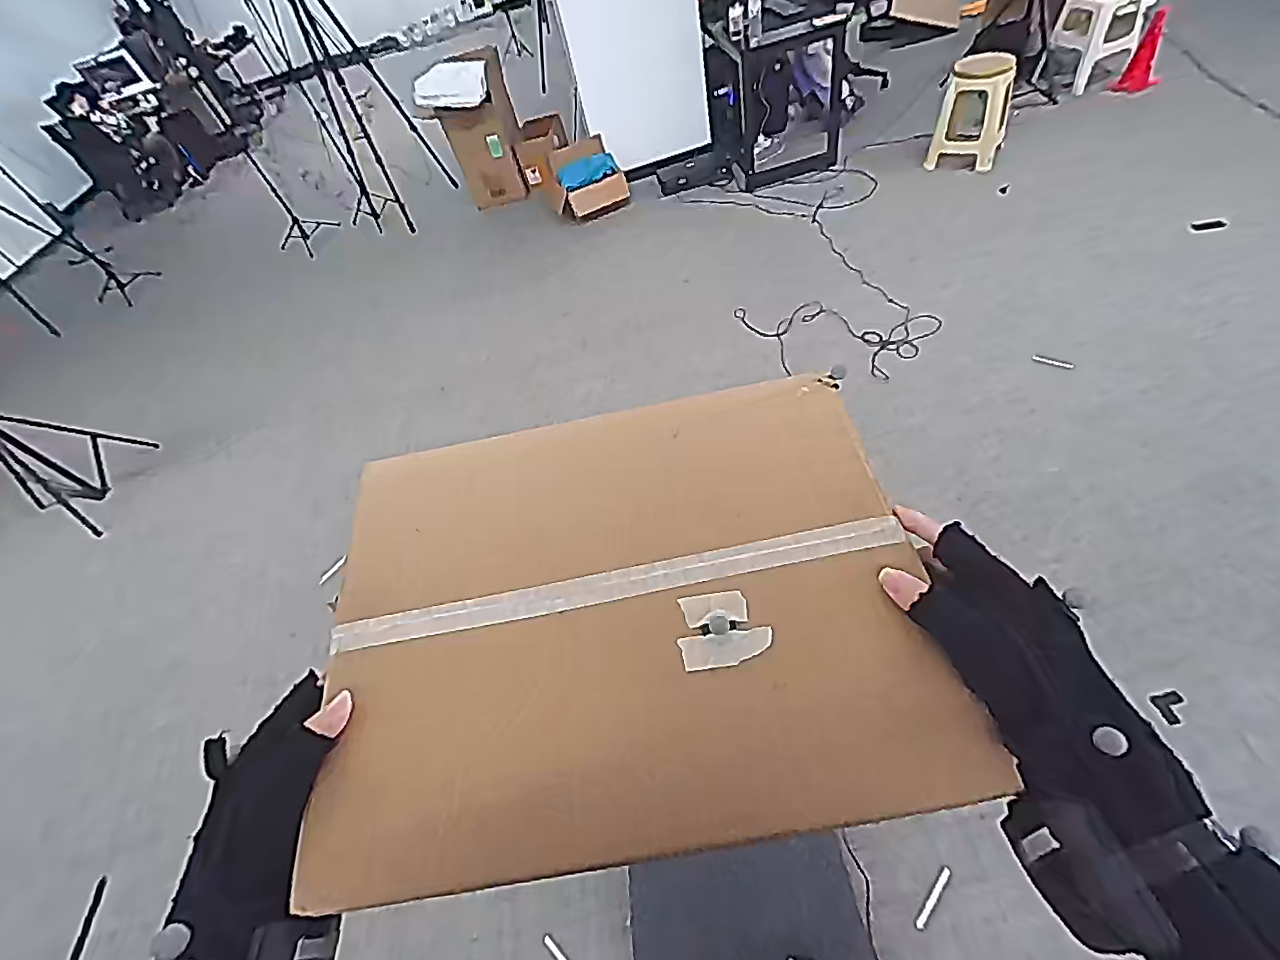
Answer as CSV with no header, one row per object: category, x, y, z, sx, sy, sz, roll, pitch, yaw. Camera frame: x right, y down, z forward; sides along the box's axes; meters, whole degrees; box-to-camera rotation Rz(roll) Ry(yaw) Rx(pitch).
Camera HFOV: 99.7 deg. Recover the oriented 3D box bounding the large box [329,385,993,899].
large box,0.006,0.161,0.517,0.408,0.320,0.320,-11,57,2
